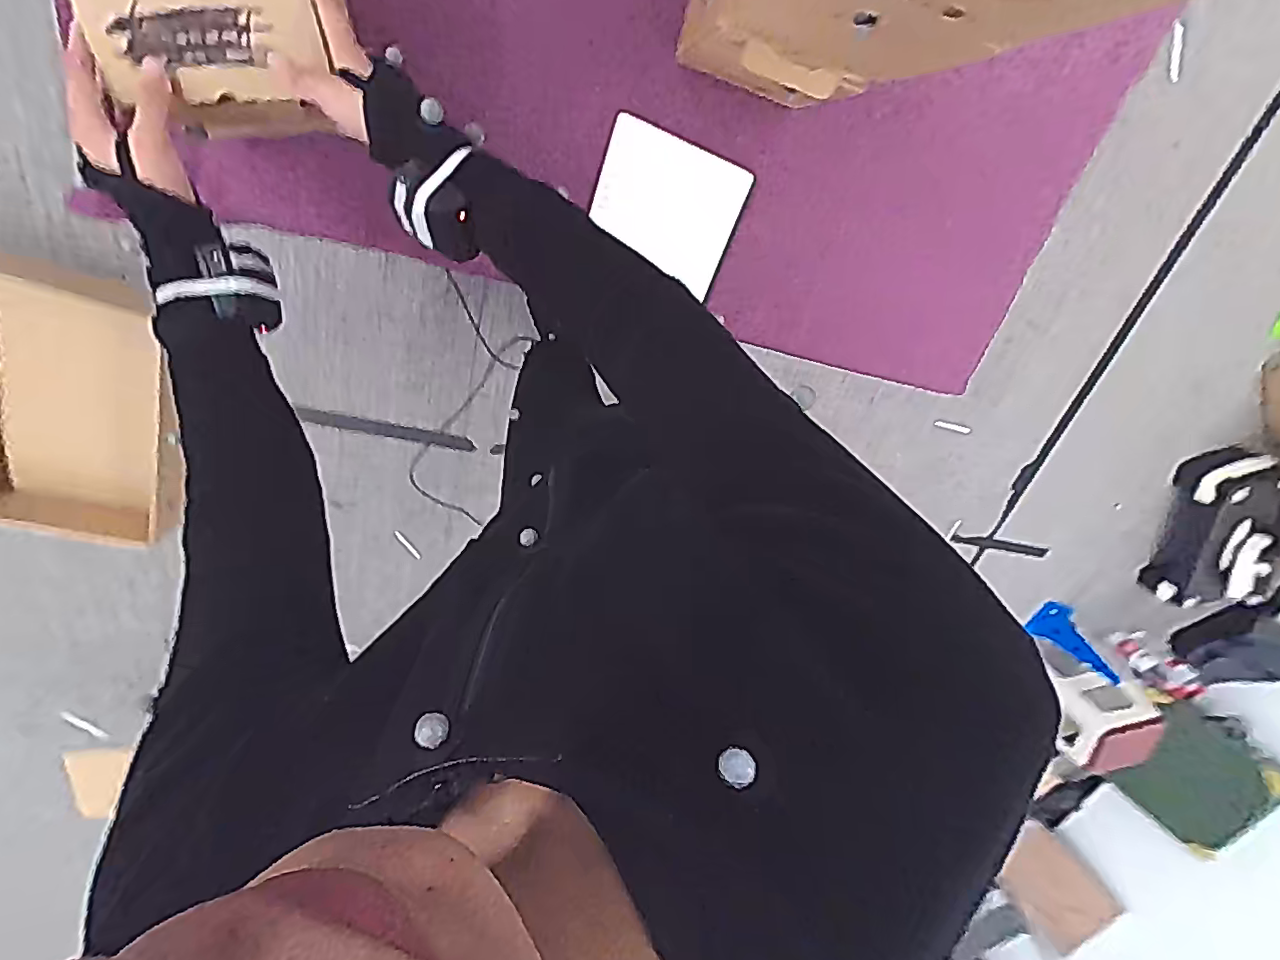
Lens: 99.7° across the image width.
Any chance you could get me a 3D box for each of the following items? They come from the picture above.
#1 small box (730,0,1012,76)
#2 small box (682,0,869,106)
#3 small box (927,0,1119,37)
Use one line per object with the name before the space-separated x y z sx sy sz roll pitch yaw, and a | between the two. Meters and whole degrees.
small box | 0.188 -0.430 0.402 0.179 0.176 0.168 8 118 -17
small box | 0.153 -0.506 0.544 0.168 0.176 0.179 9 116 -17
small box | 0.217 -0.354 0.258 0.168 0.176 0.179 7 116 -16
